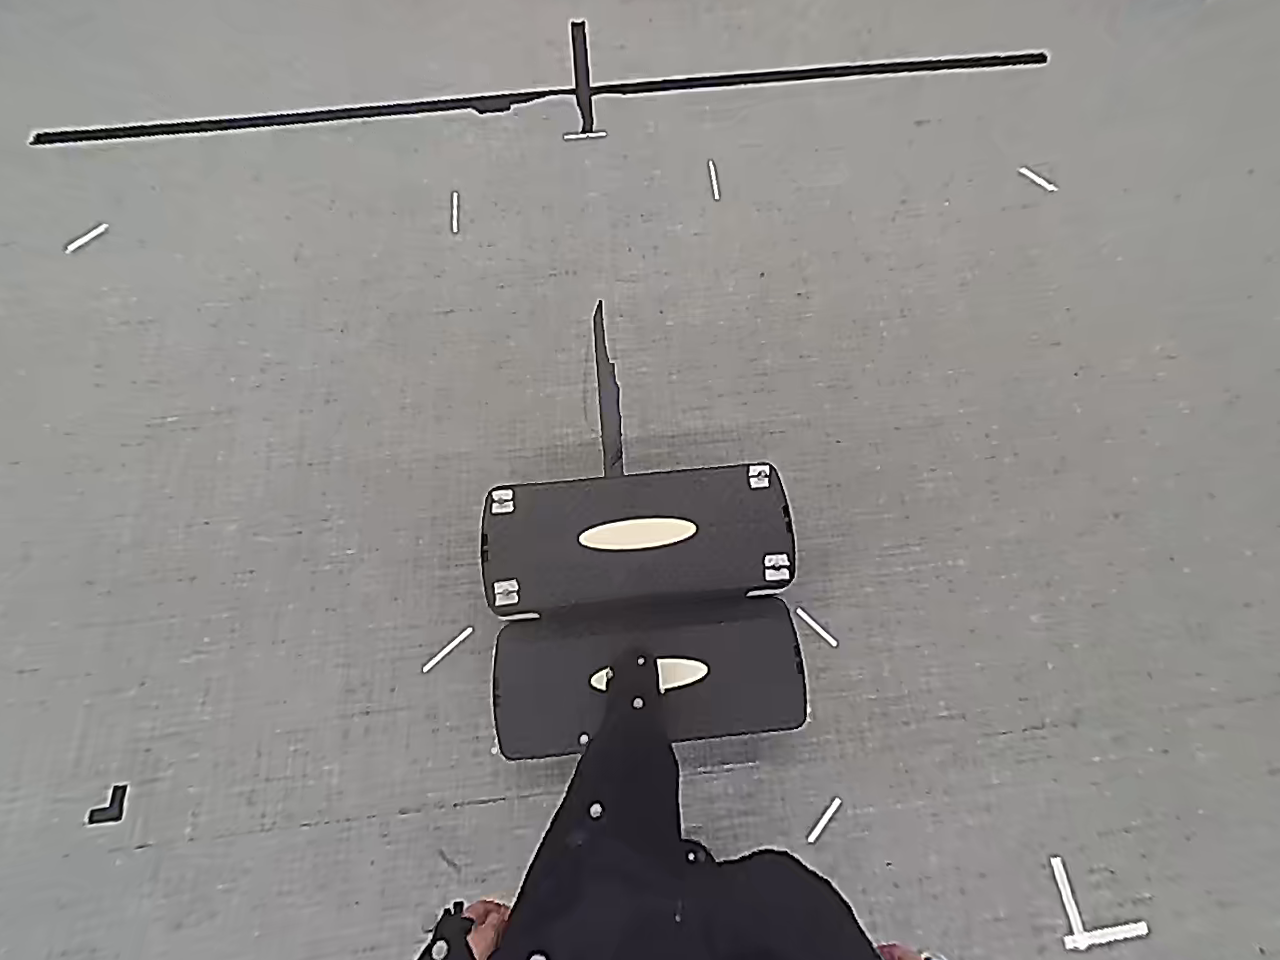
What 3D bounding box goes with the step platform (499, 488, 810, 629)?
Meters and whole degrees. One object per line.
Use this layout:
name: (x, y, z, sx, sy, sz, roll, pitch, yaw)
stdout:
step platform: (0.029, 0.178, 1.233, 0.684, 0.204, 0.286, -1, 70, -2)
